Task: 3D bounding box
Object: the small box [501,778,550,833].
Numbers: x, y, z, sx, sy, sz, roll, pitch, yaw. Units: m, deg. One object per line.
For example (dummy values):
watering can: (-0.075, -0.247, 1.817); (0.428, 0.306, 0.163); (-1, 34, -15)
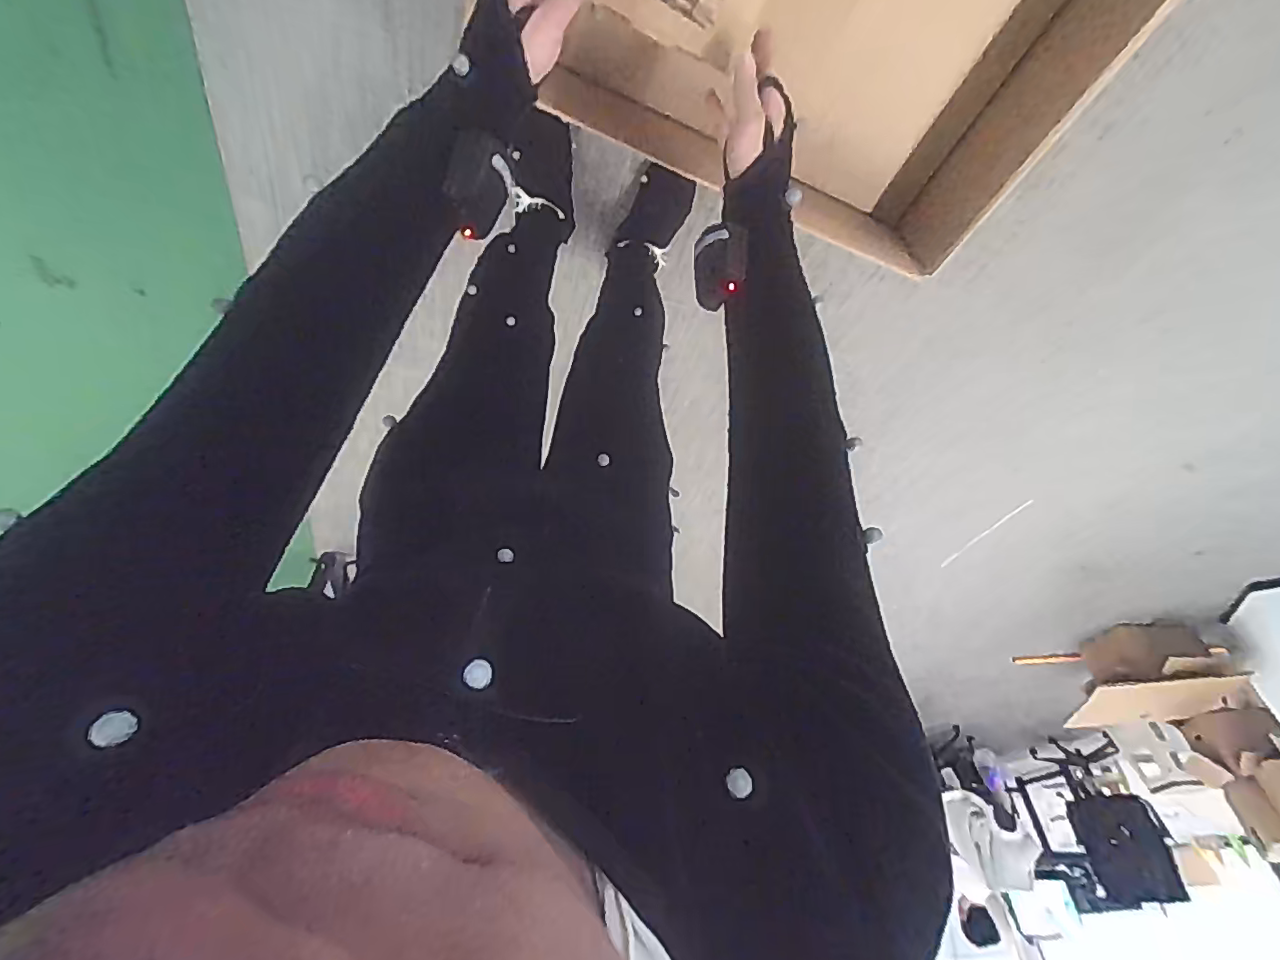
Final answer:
small box: (-0.461, 1.314, 2.182); (0.168, 0.176, 0.179); (11, 139, -11)
